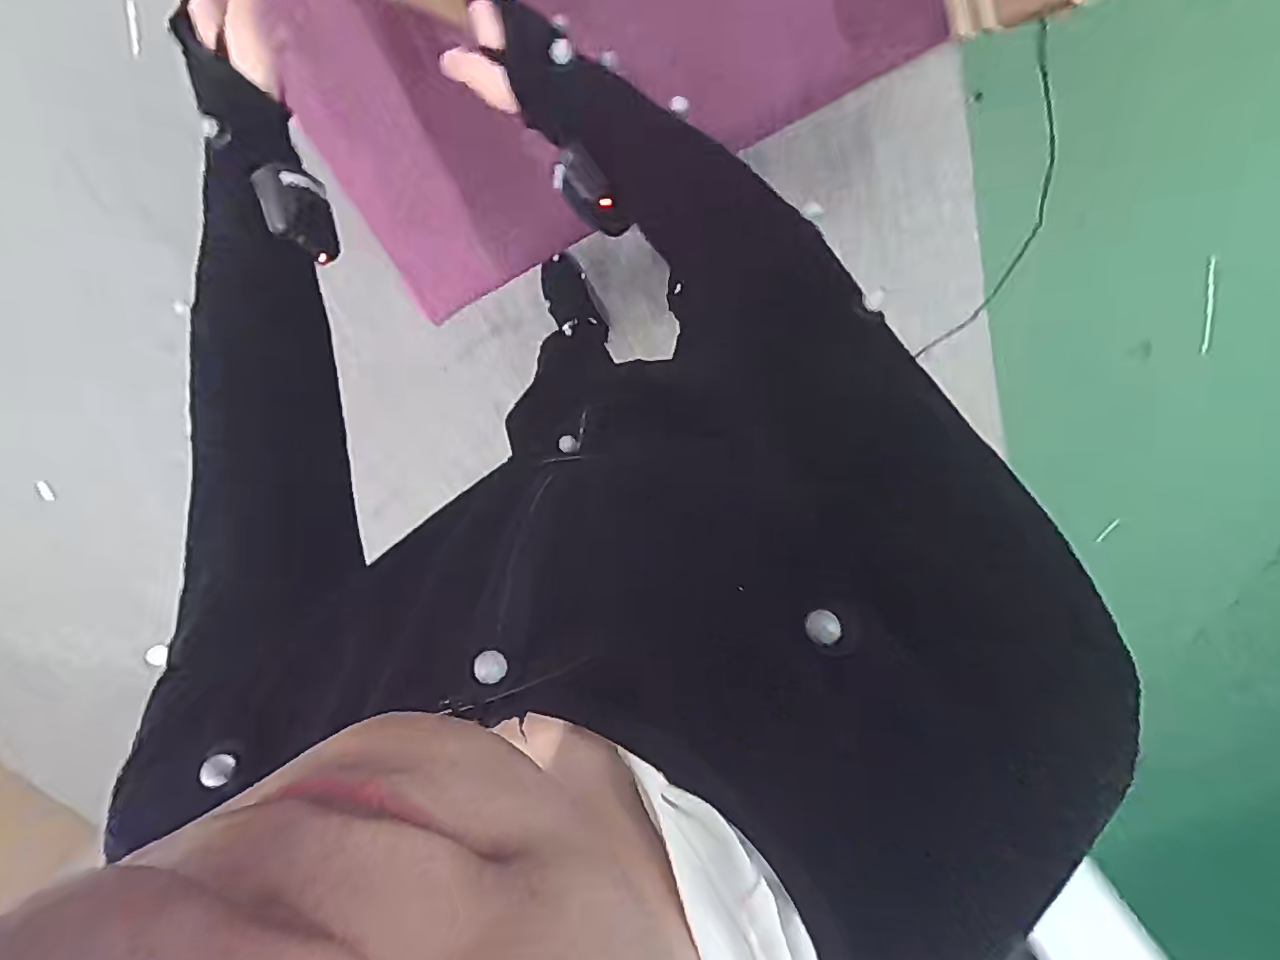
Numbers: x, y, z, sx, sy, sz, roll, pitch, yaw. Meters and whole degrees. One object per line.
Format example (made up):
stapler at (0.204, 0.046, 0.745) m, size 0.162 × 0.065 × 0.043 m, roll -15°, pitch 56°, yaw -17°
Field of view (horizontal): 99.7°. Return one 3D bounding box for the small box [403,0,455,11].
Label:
small box at (-0.253, -0.572, 0.492) m, size 0.179 × 0.176 × 0.168 m, roll 11°, pitch 116°, yaw -13°
